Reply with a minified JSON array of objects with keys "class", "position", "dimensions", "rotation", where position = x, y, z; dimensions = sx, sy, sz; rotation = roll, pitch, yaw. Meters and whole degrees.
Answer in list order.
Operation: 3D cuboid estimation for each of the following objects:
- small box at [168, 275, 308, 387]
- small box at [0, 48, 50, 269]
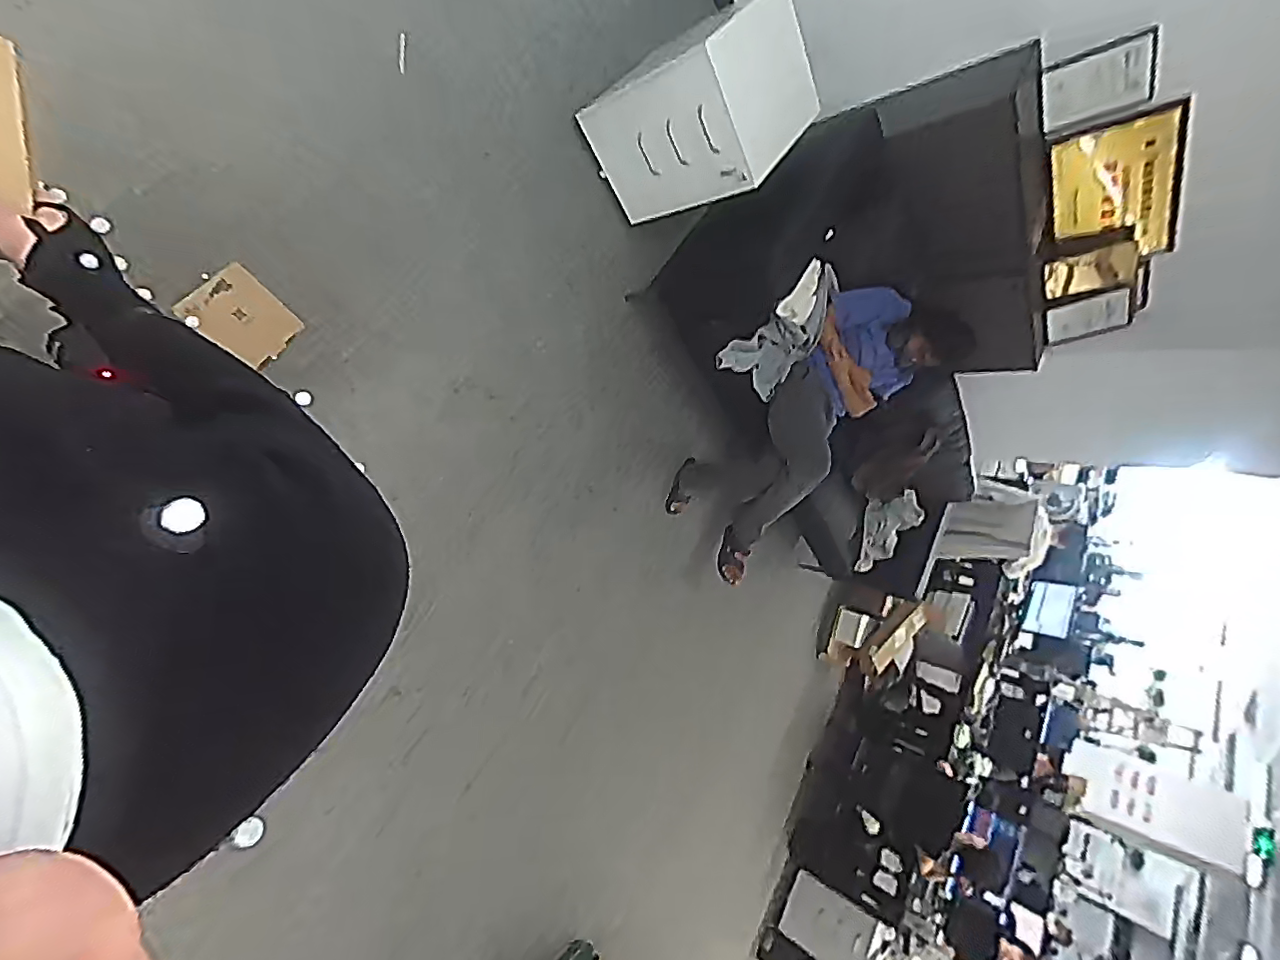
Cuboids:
[{"class":"small box","position":[-0.897,-0.327,1.207],"dimensions":[0.168,0.176,0.179],"rotation":[-57,132,-25]},{"class":"small box","position":[-0.683,-0.303,0.494],"dimensions":[0.179,0.176,0.168],"rotation":[-9,100,-45]}]
